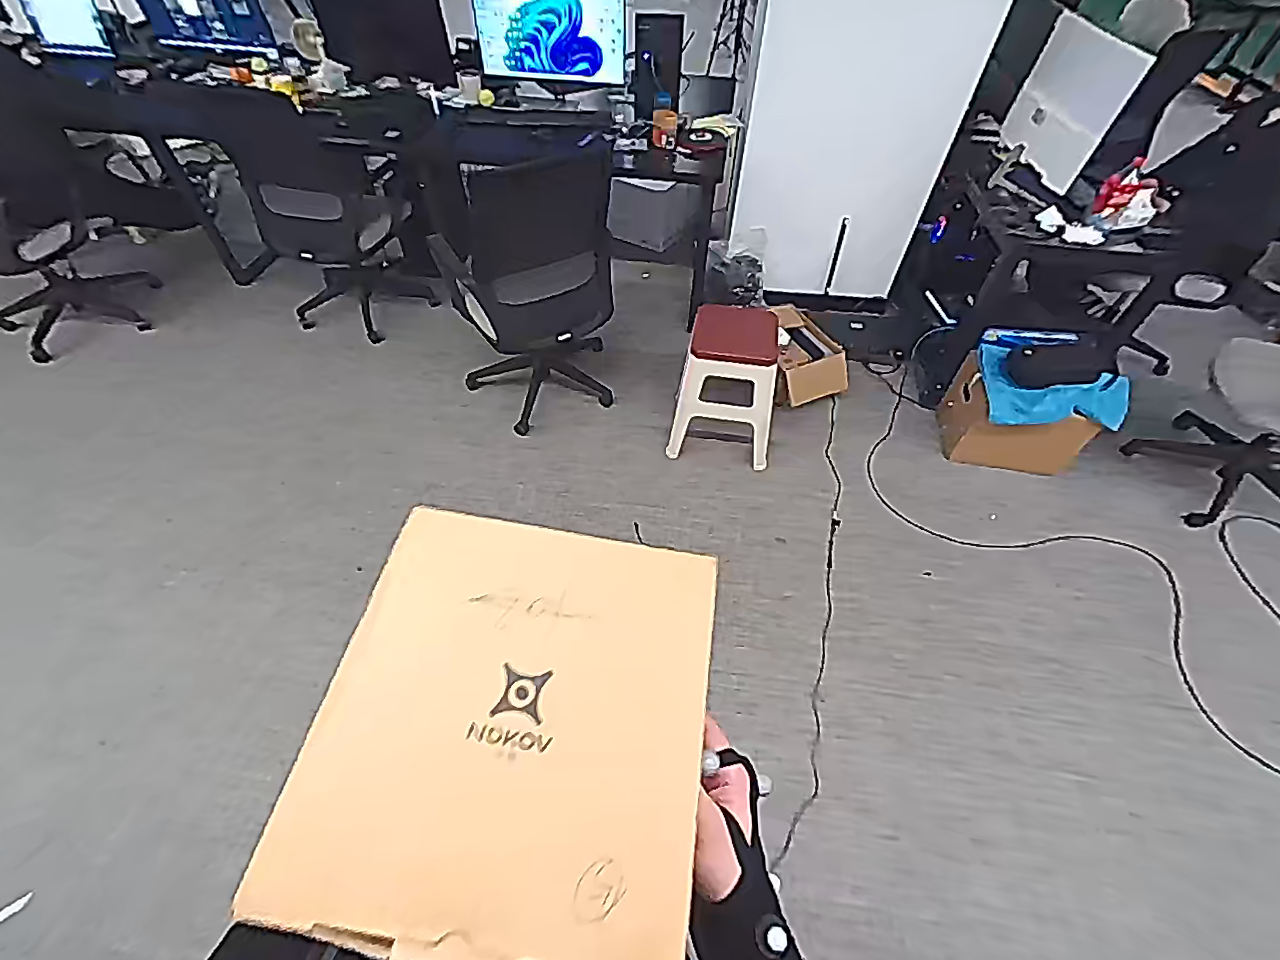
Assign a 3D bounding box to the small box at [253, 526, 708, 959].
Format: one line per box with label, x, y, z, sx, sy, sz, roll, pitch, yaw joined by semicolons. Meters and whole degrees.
small box;-0.061;0.153;0.314;0.168;0.176;0.179;9;55;1
